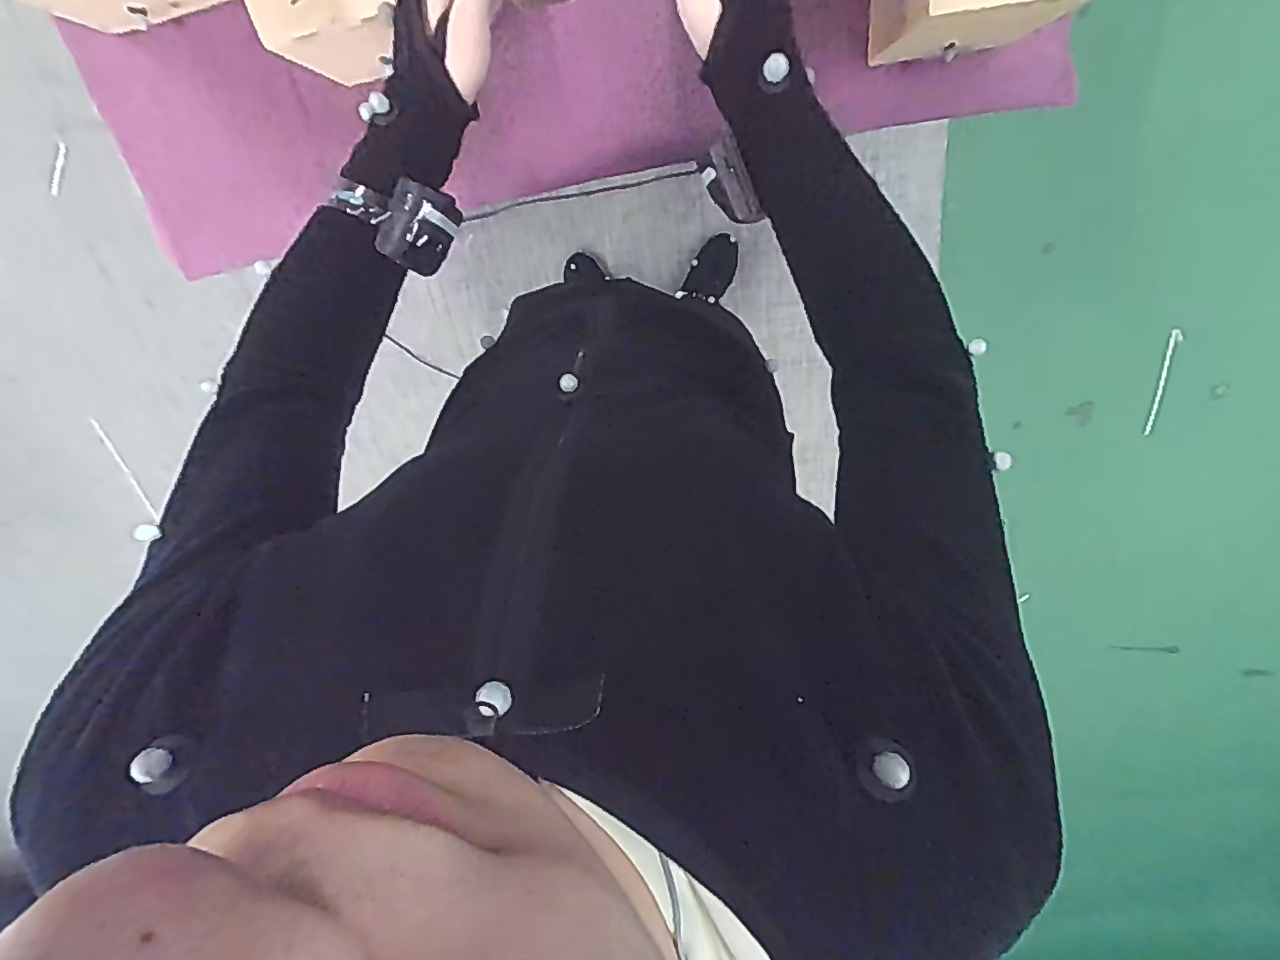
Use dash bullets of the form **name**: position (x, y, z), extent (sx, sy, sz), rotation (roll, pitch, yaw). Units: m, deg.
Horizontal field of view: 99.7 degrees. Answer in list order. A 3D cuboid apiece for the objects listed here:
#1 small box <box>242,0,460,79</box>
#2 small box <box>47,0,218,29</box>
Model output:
- **small box**: position (-0.313, -0.558, 0.565), extent (0.168, 0.176, 0.179), rotation (-10, 116, 6)
- **small box**: position (-0.589, -0.606, 0.547), extent (0.168, 0.176, 0.179), rotation (-11, 116, 7)
